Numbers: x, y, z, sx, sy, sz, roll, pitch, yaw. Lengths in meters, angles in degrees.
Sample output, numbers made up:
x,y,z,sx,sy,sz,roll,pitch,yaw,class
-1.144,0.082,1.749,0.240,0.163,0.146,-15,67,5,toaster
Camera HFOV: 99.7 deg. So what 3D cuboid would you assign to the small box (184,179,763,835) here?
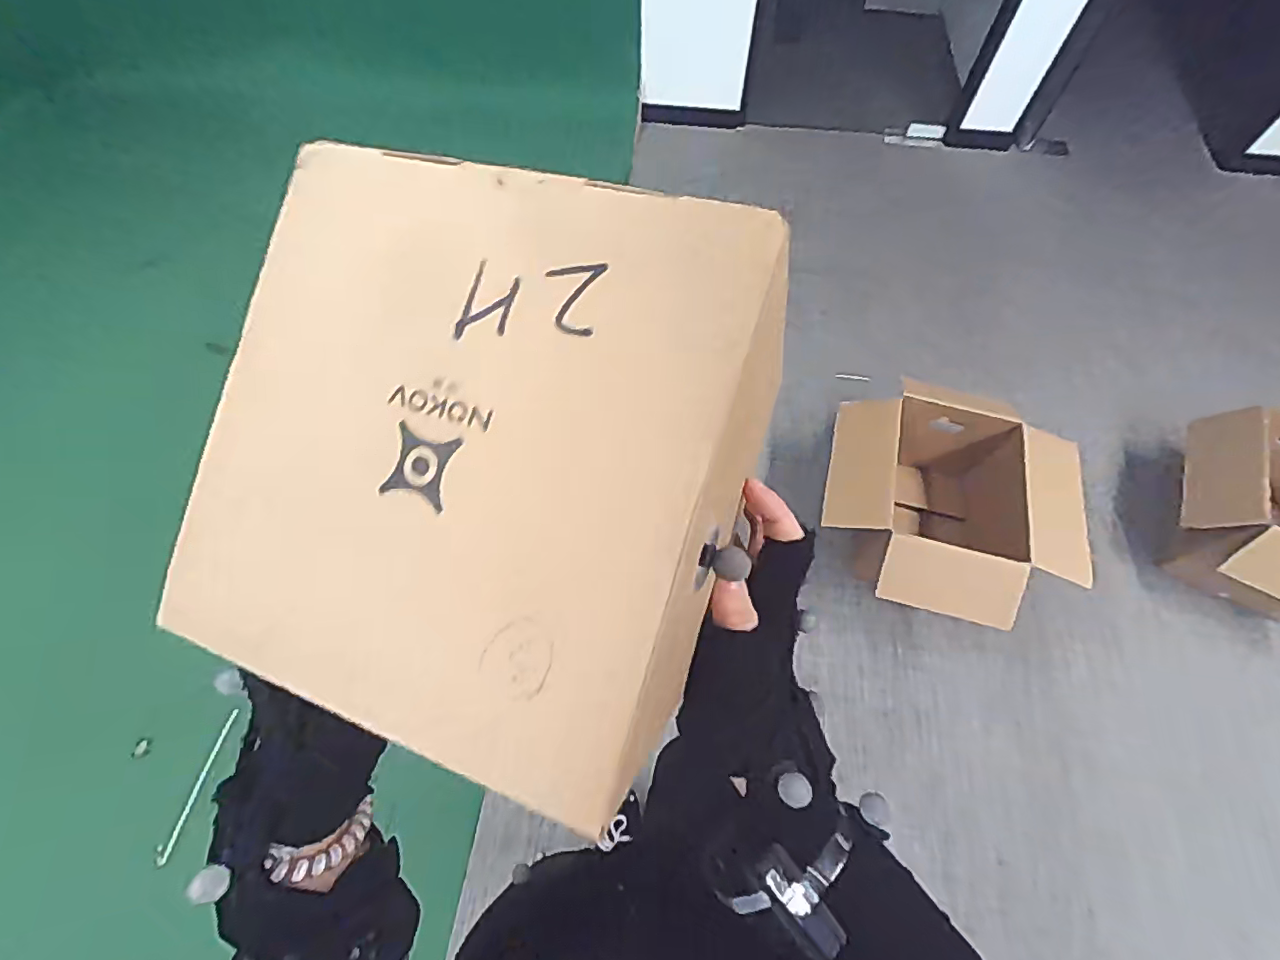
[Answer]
x,y,z,sx,sy,sz,roll,pitch,yaw,class
-0.045,0.002,0.249,0.168,0.176,0.179,16,90,16,small box
